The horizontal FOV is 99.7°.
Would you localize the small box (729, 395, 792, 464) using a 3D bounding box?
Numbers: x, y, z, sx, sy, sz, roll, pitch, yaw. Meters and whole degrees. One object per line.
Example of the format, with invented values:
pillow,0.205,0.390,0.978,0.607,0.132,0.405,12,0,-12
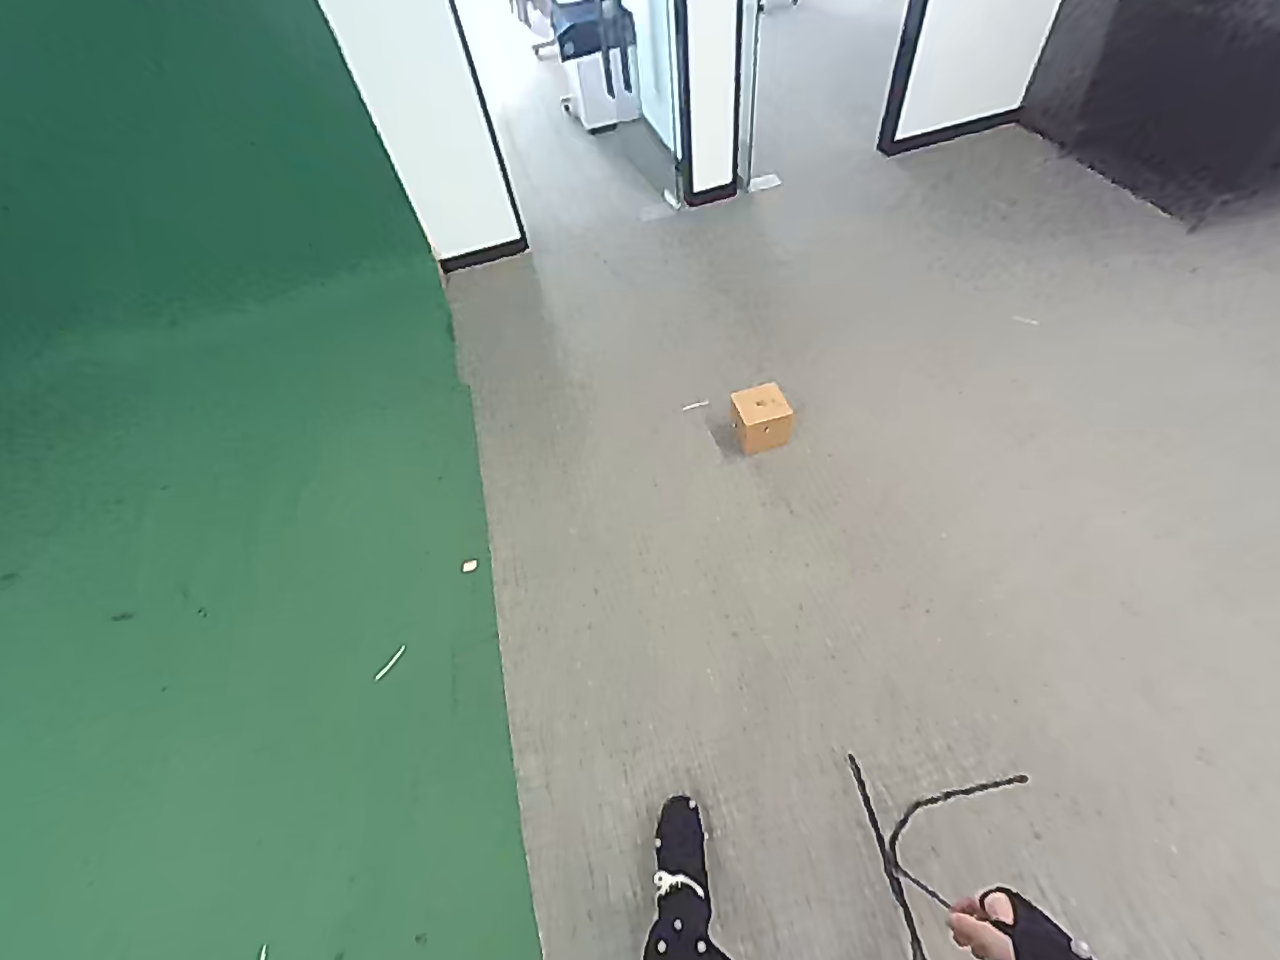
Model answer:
small box,0.436,-0.179,1.980,0.179,0.176,0.168,-15,53,-4
